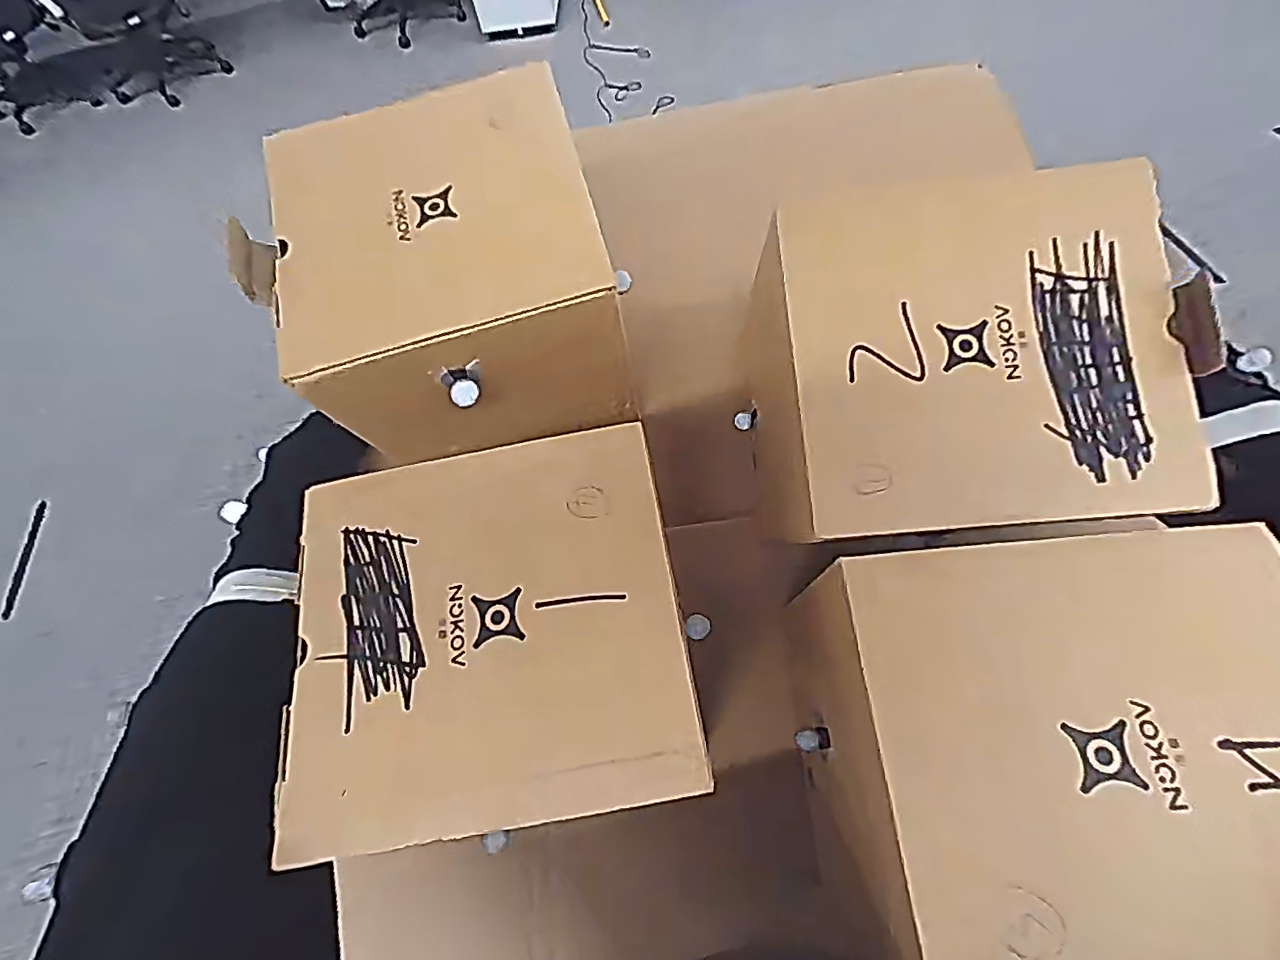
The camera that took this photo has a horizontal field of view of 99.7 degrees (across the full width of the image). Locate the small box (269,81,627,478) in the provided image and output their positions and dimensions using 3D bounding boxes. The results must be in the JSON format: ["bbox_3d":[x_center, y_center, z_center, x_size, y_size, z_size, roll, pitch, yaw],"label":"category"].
[{"bbox_3d":[-0.112,-0.118,0.377,0.179,0.176,0.168,-16,71,1],"label":"small box"}]
